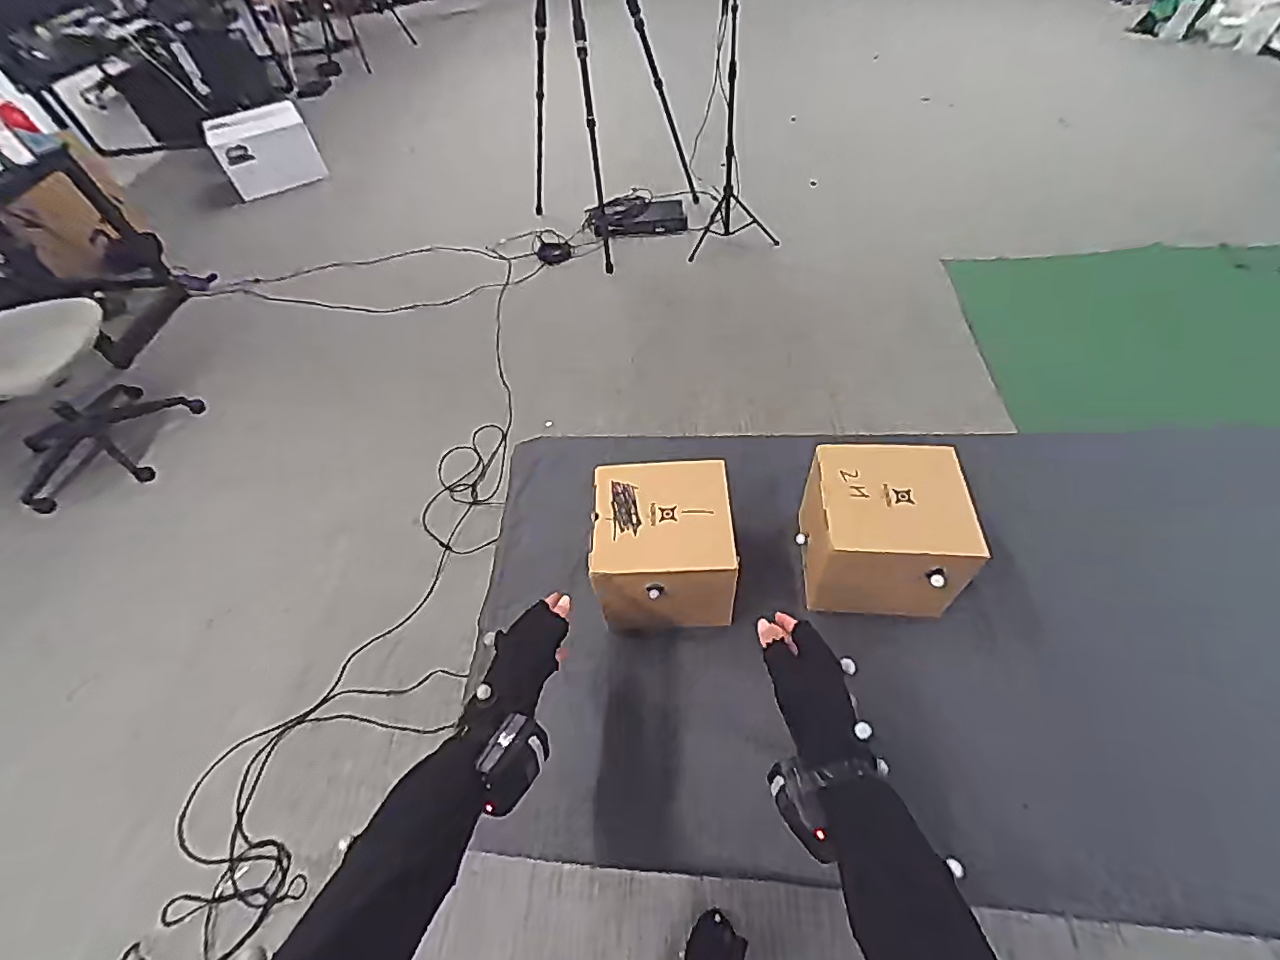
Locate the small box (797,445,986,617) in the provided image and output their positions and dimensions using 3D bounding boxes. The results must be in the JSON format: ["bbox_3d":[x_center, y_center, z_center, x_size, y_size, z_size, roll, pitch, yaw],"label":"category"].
[{"bbox_3d":[0.316,0.072,0.723,0.179,0.176,0.168,2,52,7],"label":"small box"}]

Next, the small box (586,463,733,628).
[{"bbox_3d":[0.030,0.094,0.740,0.179,0.176,0.168,-2,52,4],"label":"small box"}]
